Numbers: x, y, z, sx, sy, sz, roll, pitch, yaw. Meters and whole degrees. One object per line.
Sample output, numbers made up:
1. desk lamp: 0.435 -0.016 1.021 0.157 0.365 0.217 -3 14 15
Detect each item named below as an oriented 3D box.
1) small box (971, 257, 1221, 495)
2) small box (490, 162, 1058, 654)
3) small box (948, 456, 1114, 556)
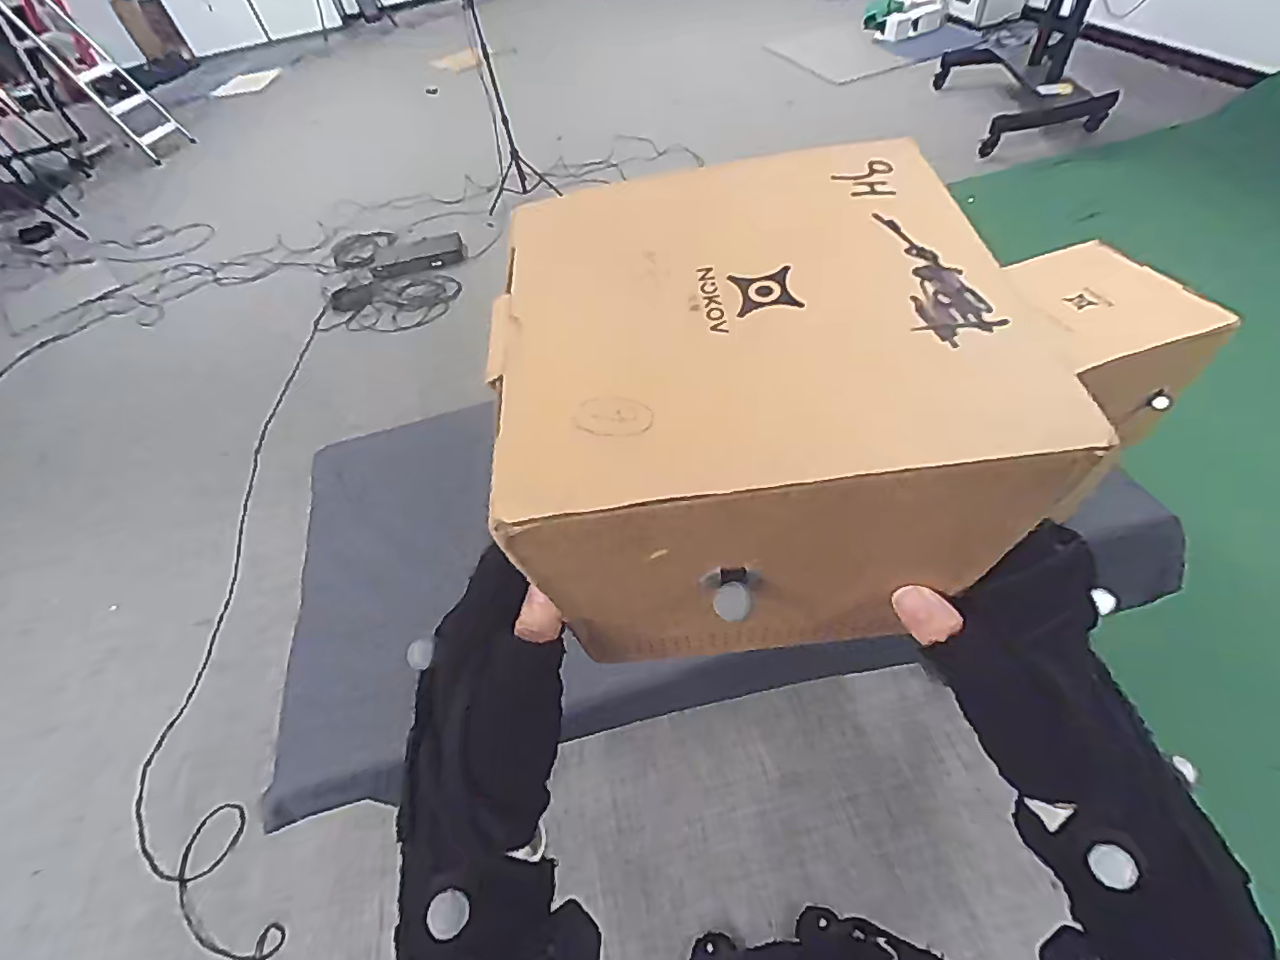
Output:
1. small box: 0.443 -0.112 0.600 0.179 0.176 0.168 -18 49 -3
2. small box: 0.044 -0.020 0.273 0.179 0.176 0.168 -8 57 4
3. small box: 0.464 -0.018 0.731 0.168 0.176 0.179 -19 50 -6
